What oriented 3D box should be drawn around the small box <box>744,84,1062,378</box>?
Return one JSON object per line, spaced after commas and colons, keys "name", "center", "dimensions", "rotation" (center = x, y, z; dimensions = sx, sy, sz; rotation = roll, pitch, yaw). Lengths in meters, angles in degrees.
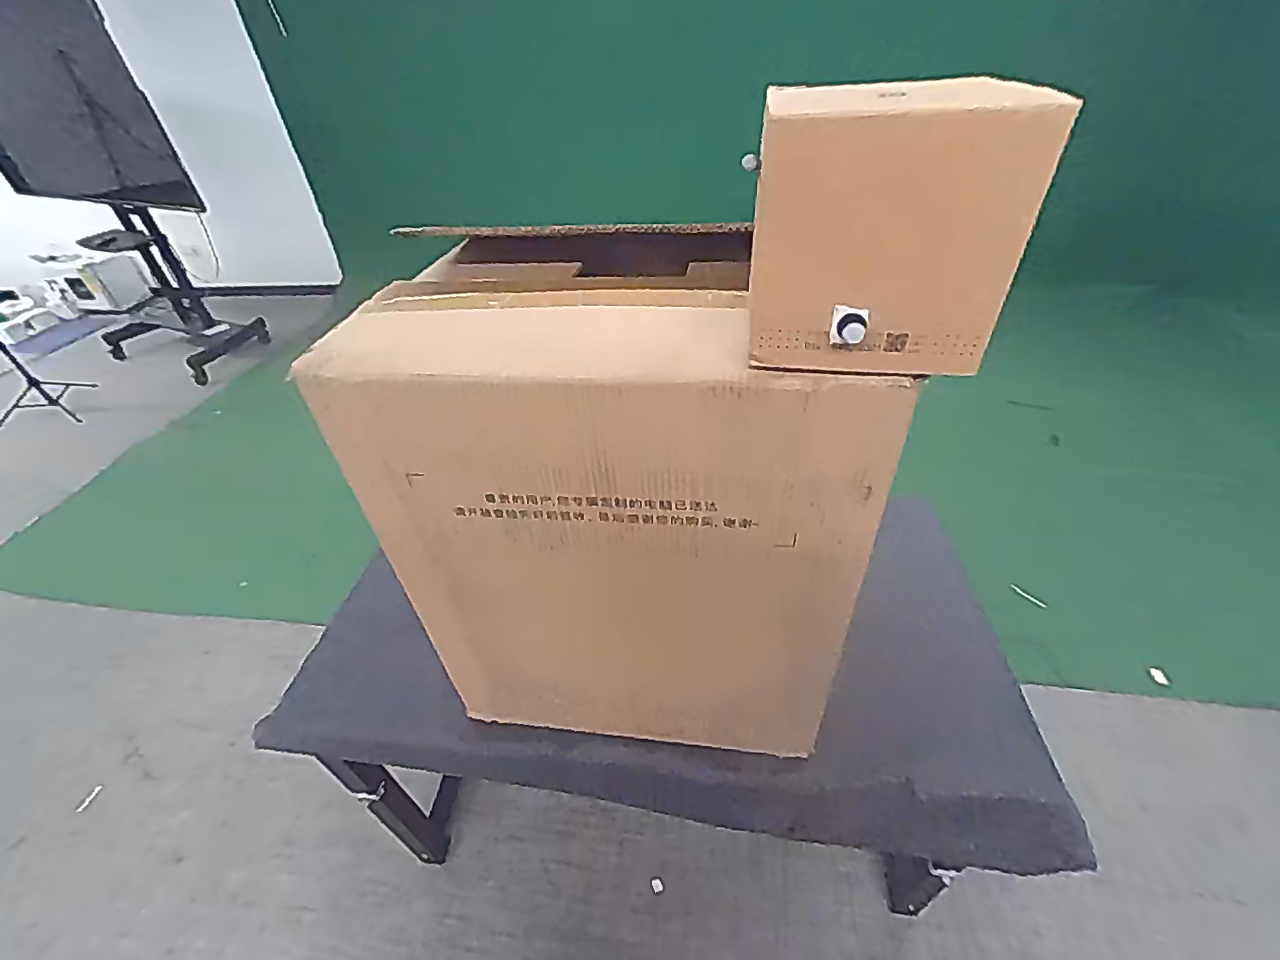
{"name": "small box", "center": [0.170, -0.198, 0.425], "dimensions": [0.168, 0.176, 0.179], "rotation": [3, 41, 8]}
